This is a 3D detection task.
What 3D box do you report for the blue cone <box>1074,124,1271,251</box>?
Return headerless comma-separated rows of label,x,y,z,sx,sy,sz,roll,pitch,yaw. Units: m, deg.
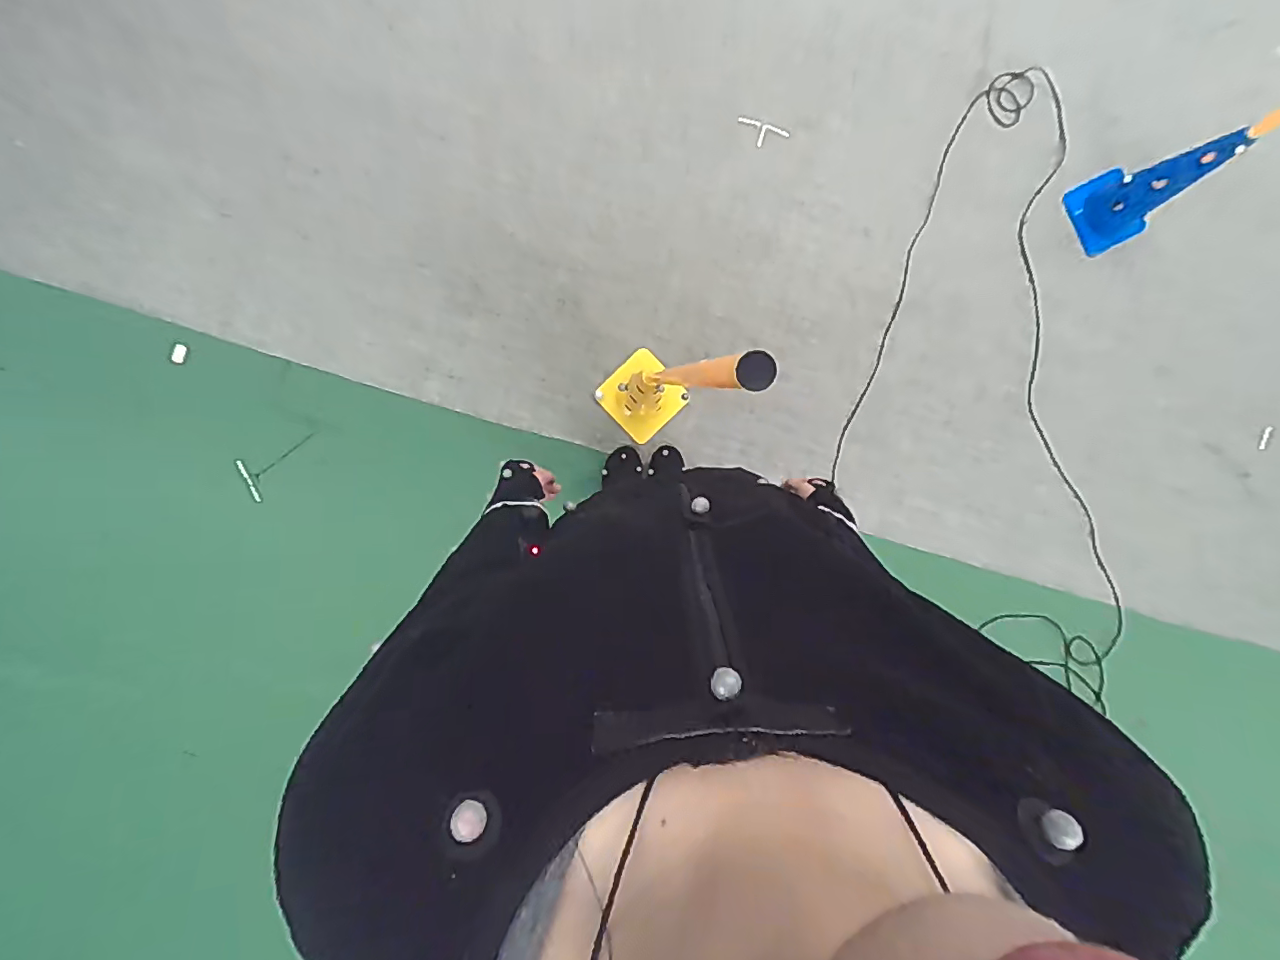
blue cone,1.352,-0.771,1.371,0.193,0.380,0.192,-29,92,-4
